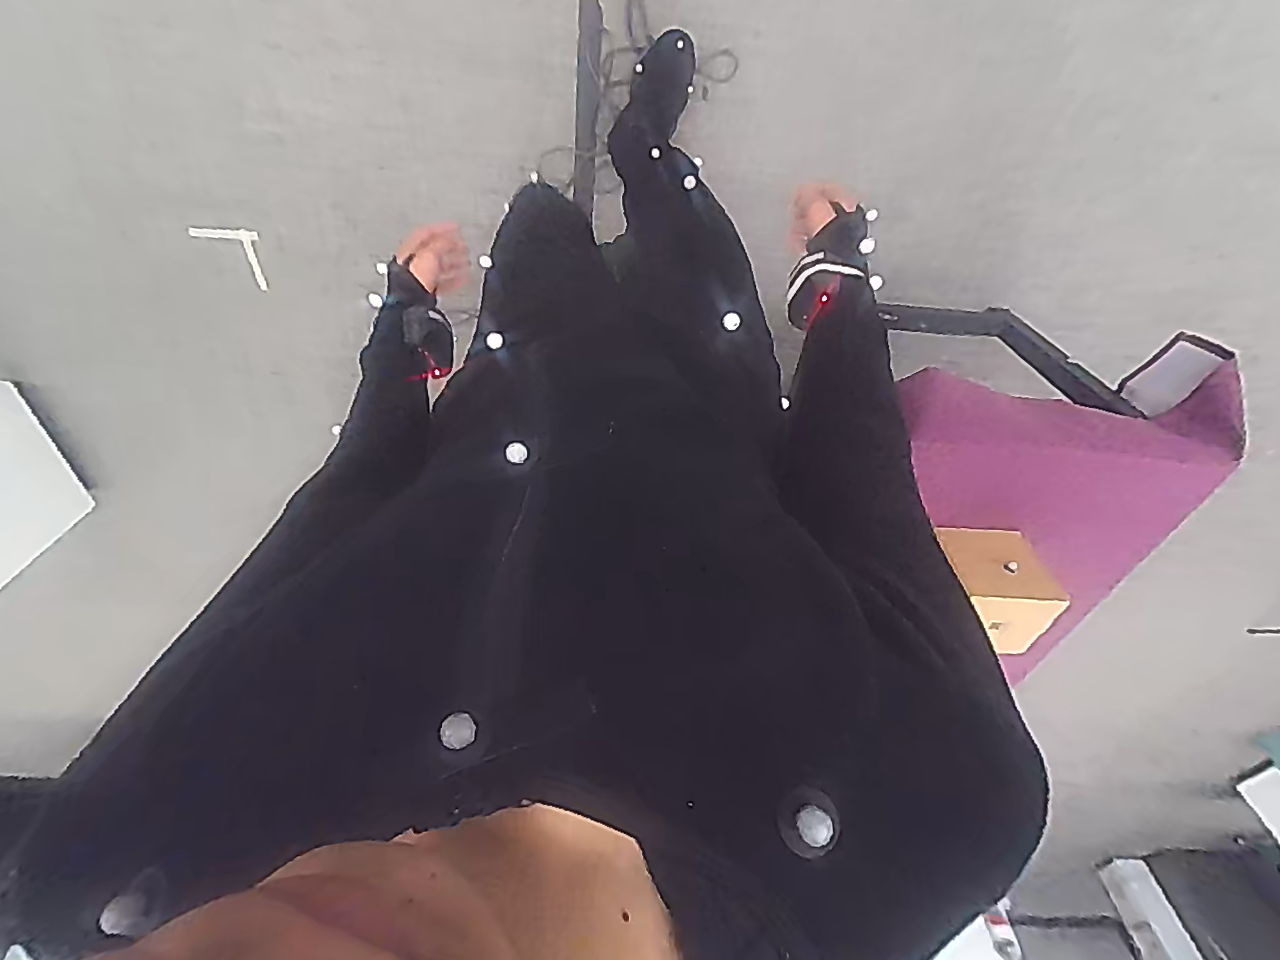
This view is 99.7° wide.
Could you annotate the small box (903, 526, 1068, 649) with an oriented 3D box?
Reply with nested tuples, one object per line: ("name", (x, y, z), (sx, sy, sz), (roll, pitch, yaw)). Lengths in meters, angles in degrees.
("small box", (0.641, 0.203, 1.031), (0.179, 0.176, 0.168), (2, 130, -3))
